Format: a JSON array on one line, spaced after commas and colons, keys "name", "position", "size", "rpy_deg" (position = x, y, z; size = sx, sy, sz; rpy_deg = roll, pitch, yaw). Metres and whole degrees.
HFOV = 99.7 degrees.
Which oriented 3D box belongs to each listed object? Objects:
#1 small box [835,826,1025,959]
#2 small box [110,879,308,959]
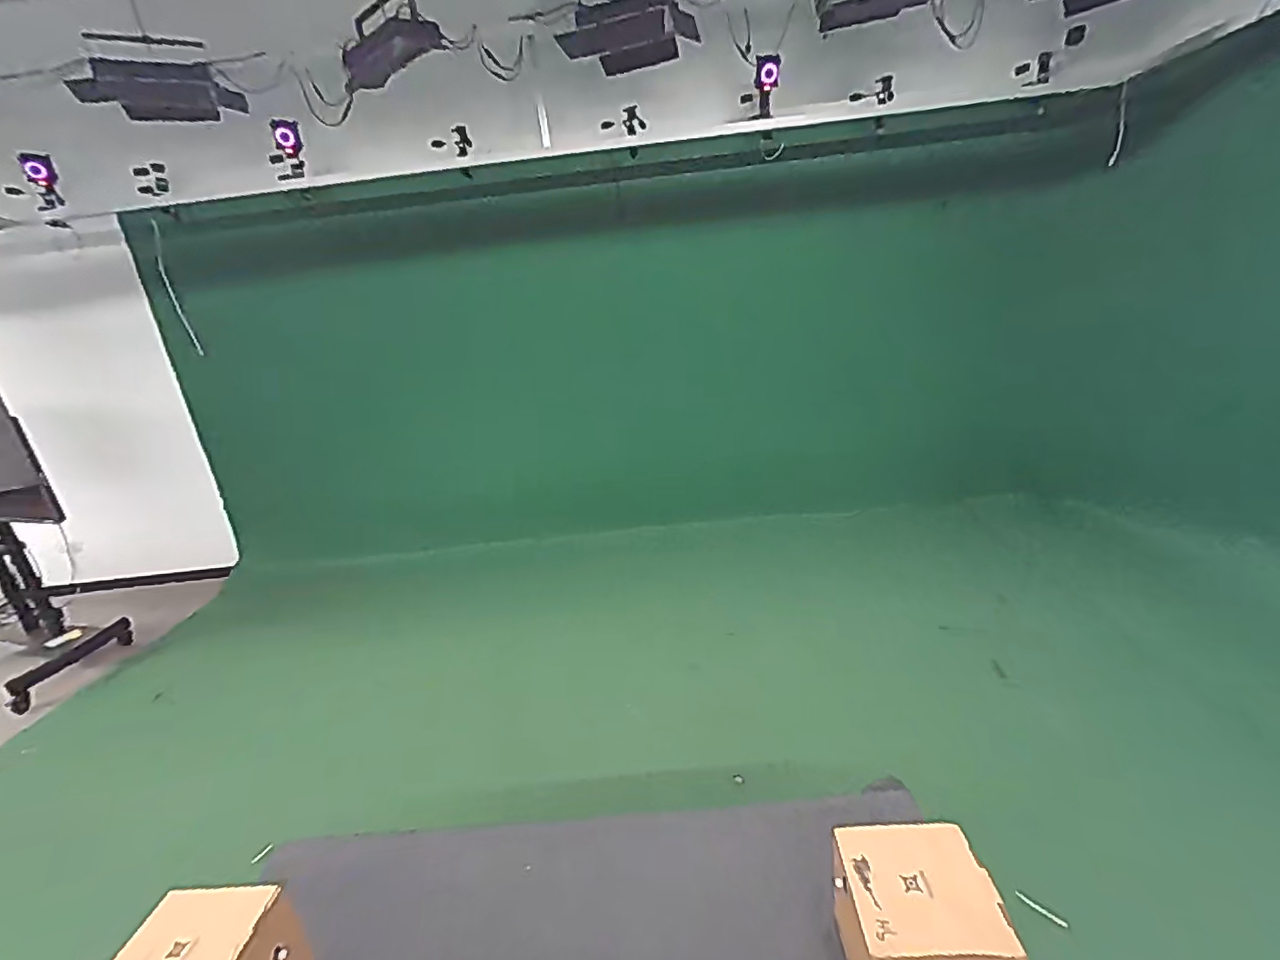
[{"name": "small box", "position": [0.371, 0.603, 0.727], "size": [0.179, 0.176, 0.168], "rpy_deg": [-5, 19, 6]}, {"name": "small box", "position": [-0.604, 0.697, 0.748], "size": [0.179, 0.176, 0.168], "rpy_deg": [-5, 16, 5]}]
